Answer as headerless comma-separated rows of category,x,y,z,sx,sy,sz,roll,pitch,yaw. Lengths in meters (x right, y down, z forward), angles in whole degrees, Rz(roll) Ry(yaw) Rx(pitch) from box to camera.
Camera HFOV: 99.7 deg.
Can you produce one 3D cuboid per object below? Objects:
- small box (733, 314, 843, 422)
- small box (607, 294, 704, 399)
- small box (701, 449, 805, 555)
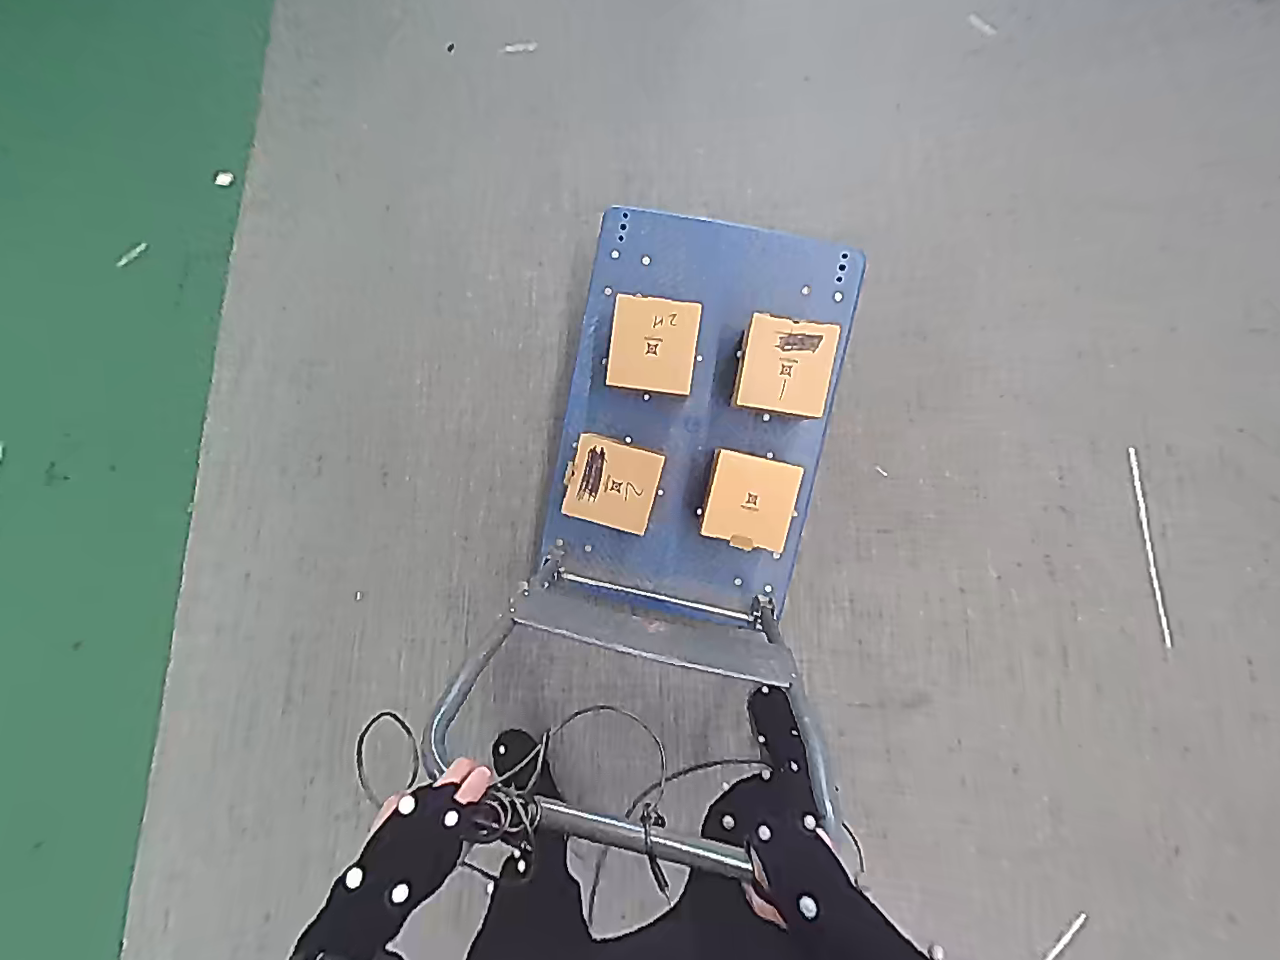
small box,0.289,-0.219,1.095,0.168,0.176,0.179,11,97,4
small box,0.036,-0.265,1.114,0.168,0.176,0.179,9,96,3
small box,0.224,0.036,1.125,0.168,0.176,0.179,14,97,4
